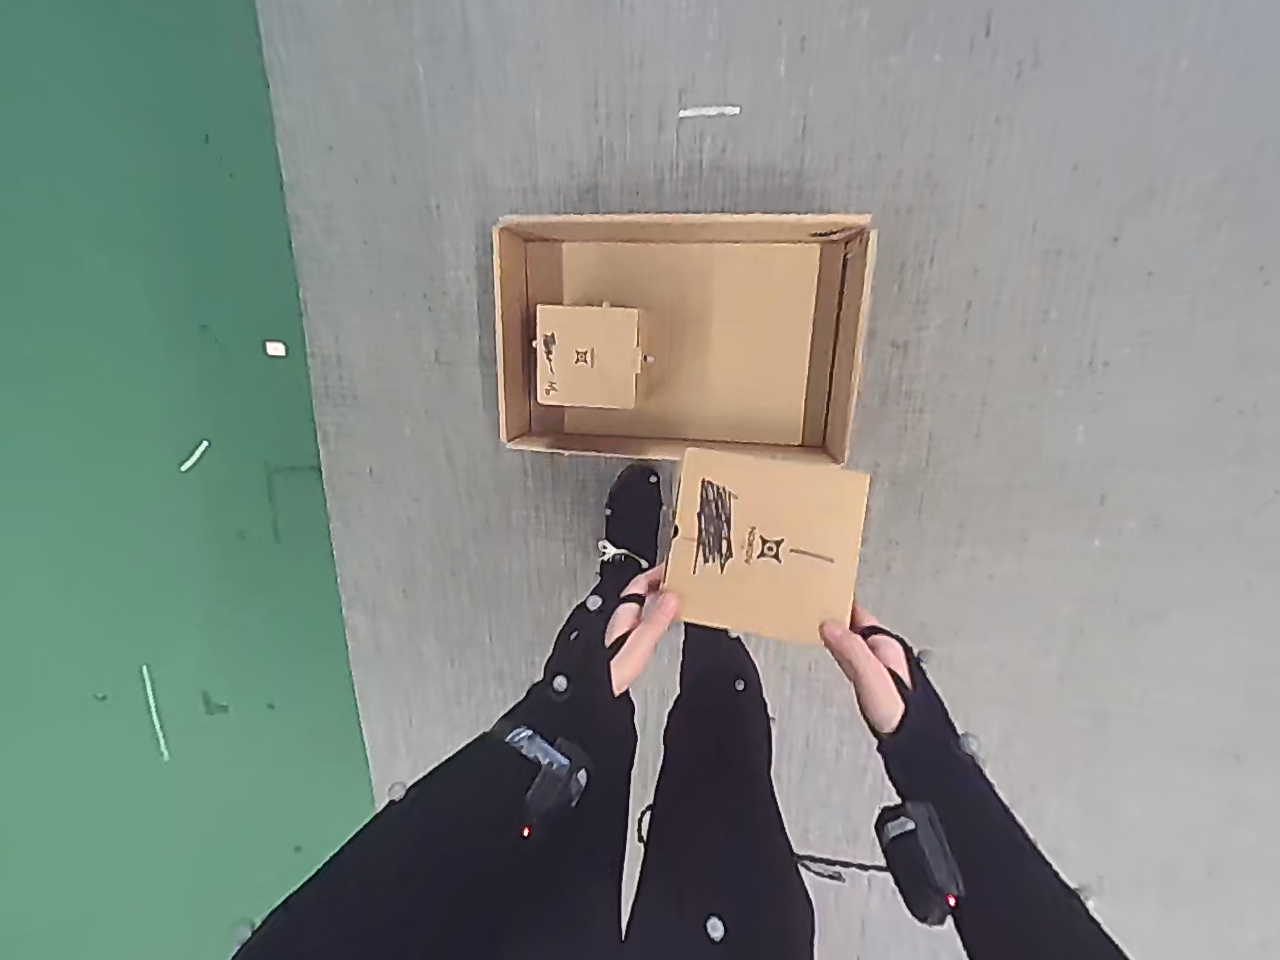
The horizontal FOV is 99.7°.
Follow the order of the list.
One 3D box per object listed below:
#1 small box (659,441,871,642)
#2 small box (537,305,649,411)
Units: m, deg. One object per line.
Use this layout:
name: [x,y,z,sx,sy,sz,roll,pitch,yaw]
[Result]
small box: [0.129,0.062,0.583,0.179,0.176,0.168,9,86,10]
small box: [-0.078,-0.221,0.975,0.179,0.176,0.168,4,104,6]
